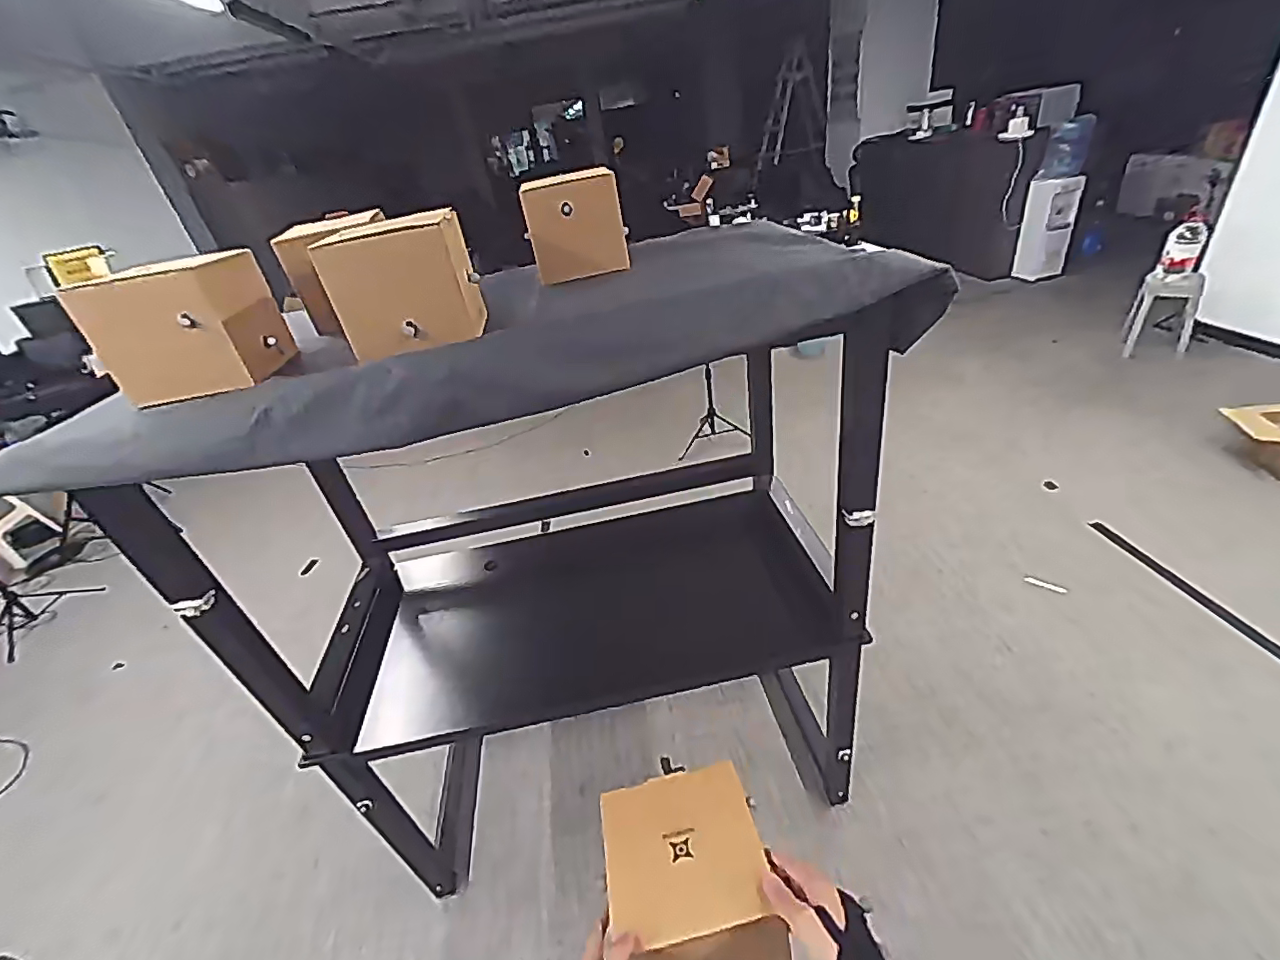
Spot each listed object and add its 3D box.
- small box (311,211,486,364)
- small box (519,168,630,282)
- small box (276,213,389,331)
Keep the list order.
[{"bbox_3d":[-0.344,-0.292,0.815,0.179,0.176,0.168,-12,32,-3],"label":"small box"},{"bbox_3d":[-0.127,-0.503,1.069,0.179,0.176,0.168,-12,34,-2],"label":"small box"},{"bbox_3d":[-0.546,-0.399,1.035,0.168,0.176,0.179,-17,34,-7],"label":"small box"}]
